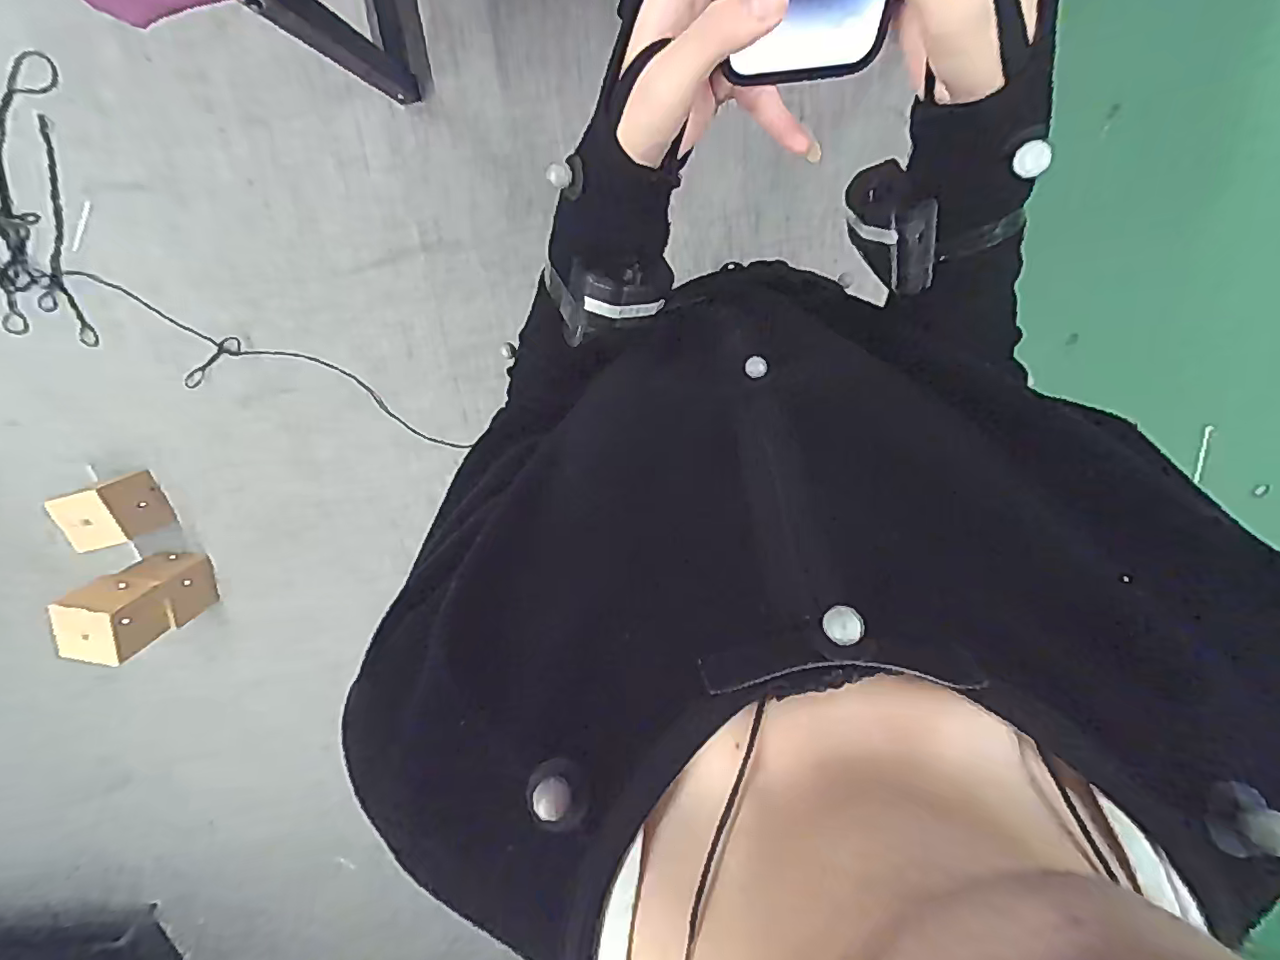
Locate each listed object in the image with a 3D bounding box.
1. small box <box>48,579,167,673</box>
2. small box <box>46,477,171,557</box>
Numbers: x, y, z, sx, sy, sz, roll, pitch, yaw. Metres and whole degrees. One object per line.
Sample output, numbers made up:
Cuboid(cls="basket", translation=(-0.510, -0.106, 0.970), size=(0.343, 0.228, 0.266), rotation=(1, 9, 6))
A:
Cuboid(cls="small box", translation=(-1.486, 0.406, 1.523), size=(0.168, 0.176, 0.179), rotation=(11, 109, 0))
Cuboid(cls="small box", translation=(-1.538, 0.103, 1.585), size=(0.179, 0.176, 0.168), rotation=(-12, 109, 8))
